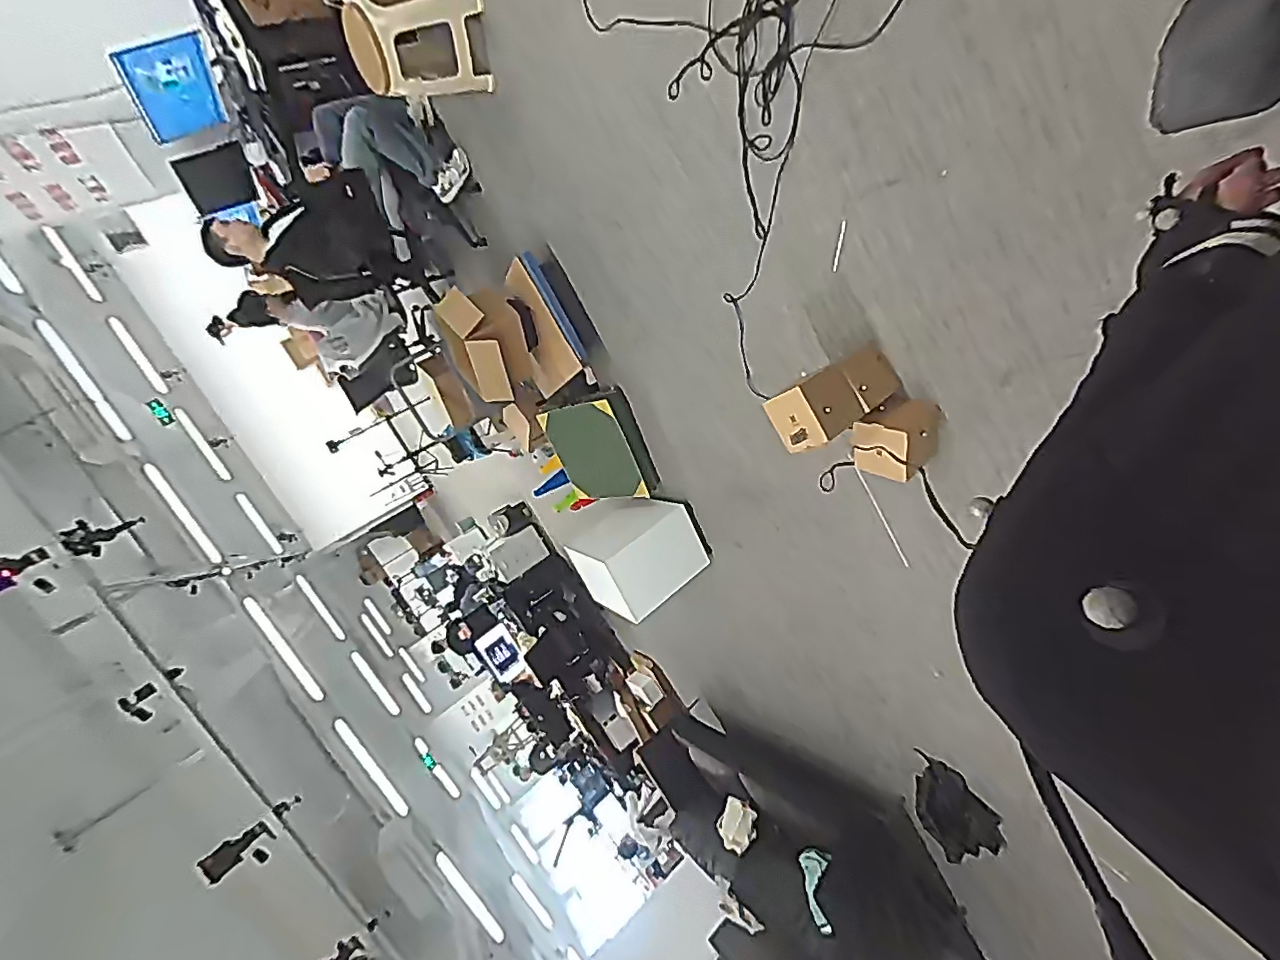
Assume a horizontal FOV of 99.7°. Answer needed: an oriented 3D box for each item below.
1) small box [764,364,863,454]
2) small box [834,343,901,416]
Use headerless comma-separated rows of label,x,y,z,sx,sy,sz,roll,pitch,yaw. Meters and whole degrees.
small box,0.498,-0.201,1.544,0.179,0.176,0.168,59,155,-4
small box,0.630,-0.276,1.608,0.168,0.176,0.179,57,155,0
